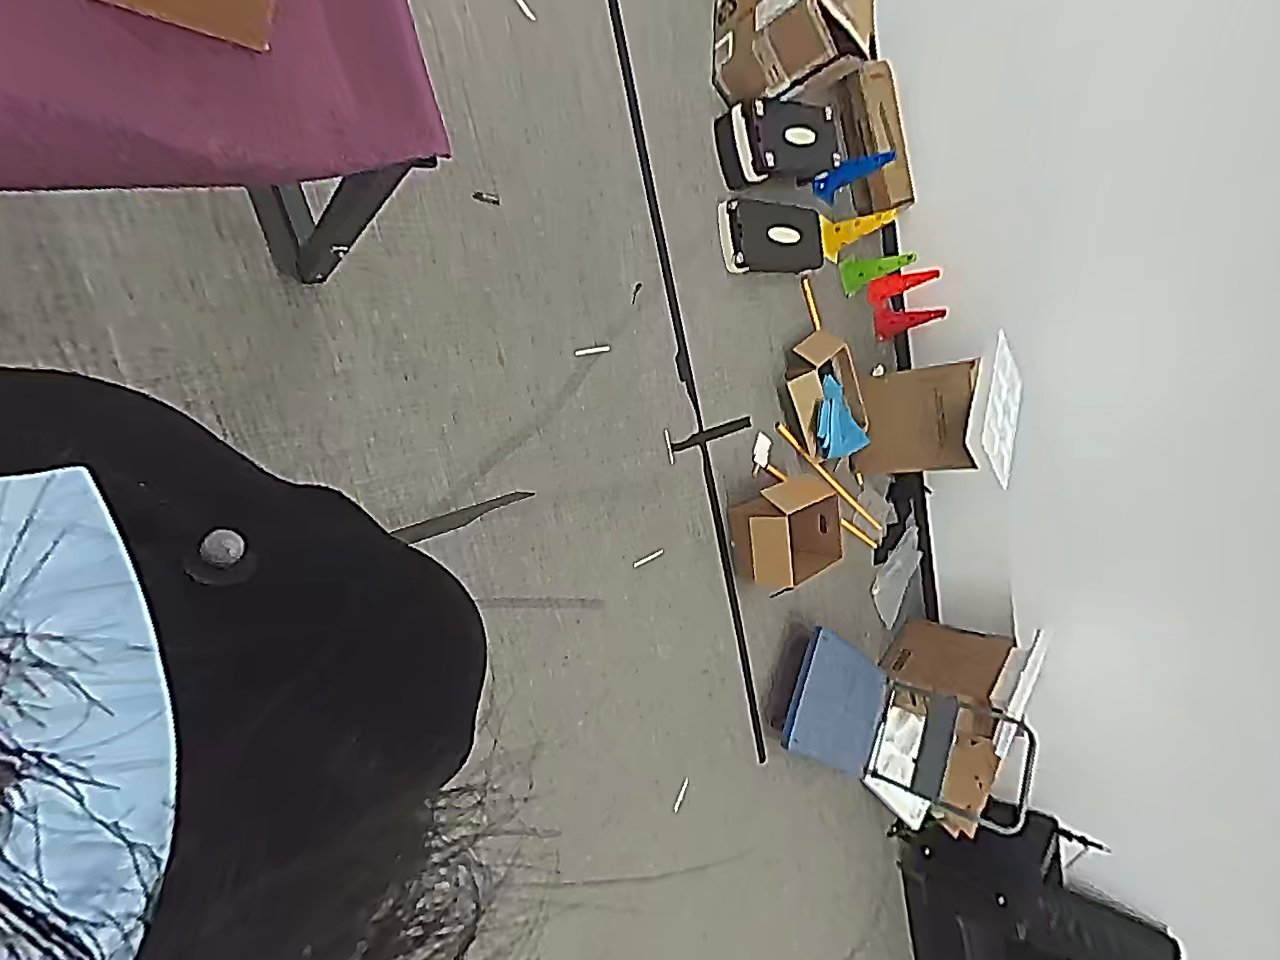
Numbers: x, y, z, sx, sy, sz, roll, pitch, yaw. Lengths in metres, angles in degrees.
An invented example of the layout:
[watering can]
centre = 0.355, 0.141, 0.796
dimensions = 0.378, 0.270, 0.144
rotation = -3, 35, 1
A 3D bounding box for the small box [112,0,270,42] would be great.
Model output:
[small box]
centre = -0.476, -0.588, 0.533
dimensions = 0.179, 0.176, 0.168
rotation = -10, 97, -40
